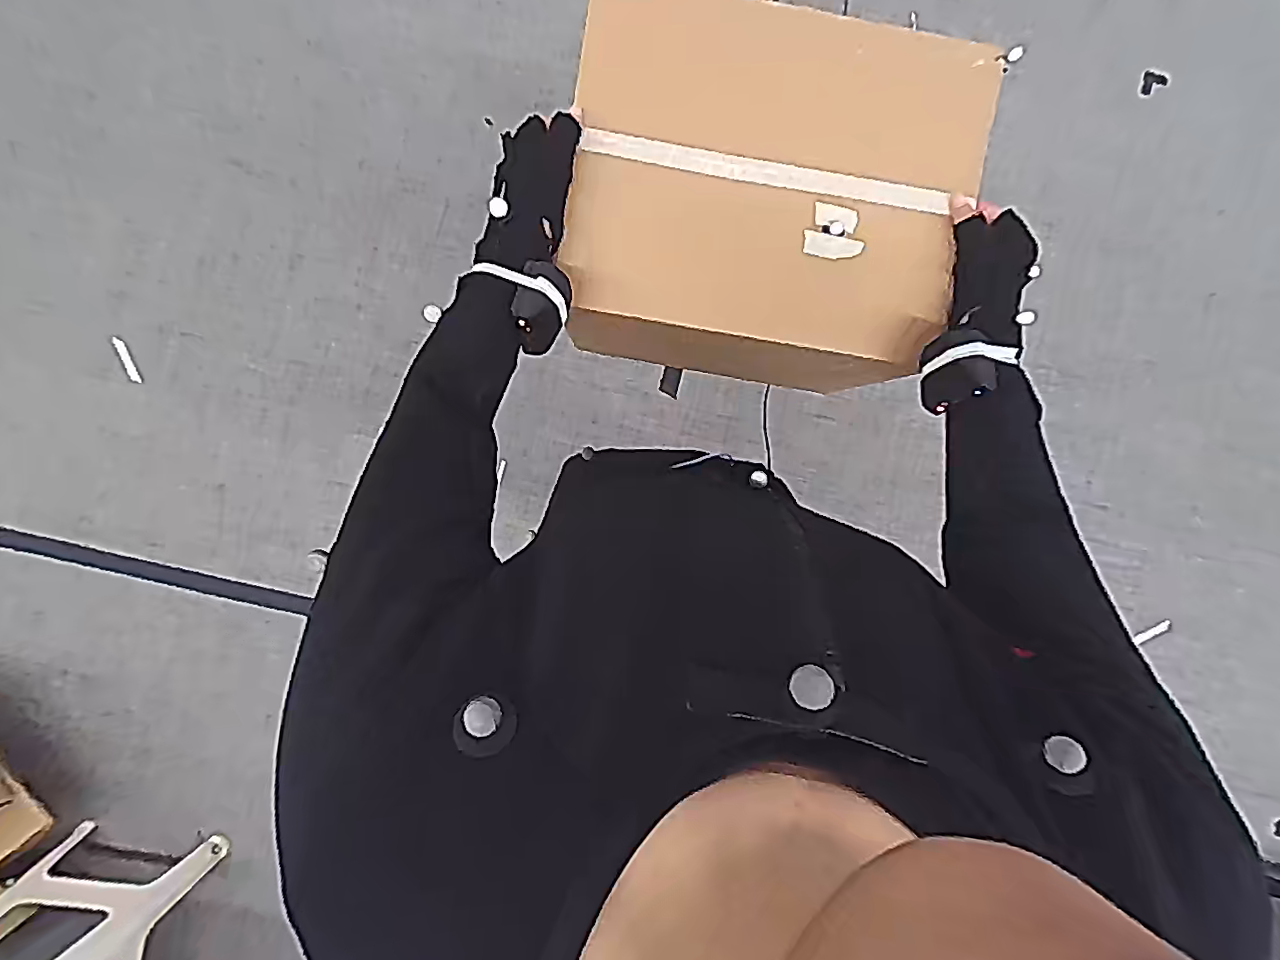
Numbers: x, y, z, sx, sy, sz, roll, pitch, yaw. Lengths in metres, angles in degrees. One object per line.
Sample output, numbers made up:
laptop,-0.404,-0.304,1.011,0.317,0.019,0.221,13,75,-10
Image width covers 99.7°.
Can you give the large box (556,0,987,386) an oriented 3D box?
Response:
large box,0.124,-0.314,0.689,0.408,0.320,0.320,9,95,-3
